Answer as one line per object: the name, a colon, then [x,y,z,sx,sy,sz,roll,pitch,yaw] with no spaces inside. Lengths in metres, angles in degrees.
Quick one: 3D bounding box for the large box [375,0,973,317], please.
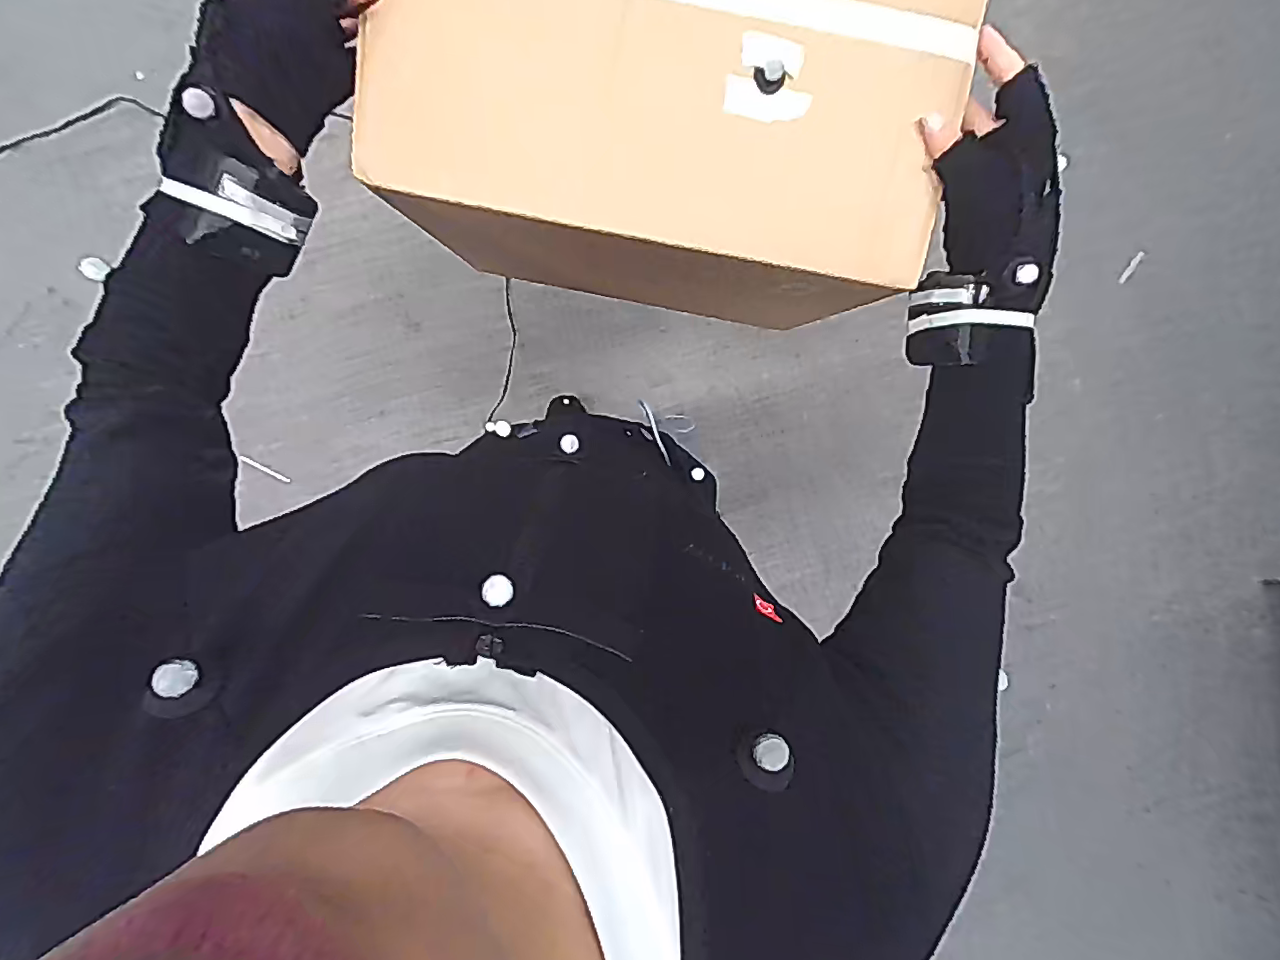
large box: [0.023,-0.357,0.513,0.408,0.320,0.320,9,101,-3]
